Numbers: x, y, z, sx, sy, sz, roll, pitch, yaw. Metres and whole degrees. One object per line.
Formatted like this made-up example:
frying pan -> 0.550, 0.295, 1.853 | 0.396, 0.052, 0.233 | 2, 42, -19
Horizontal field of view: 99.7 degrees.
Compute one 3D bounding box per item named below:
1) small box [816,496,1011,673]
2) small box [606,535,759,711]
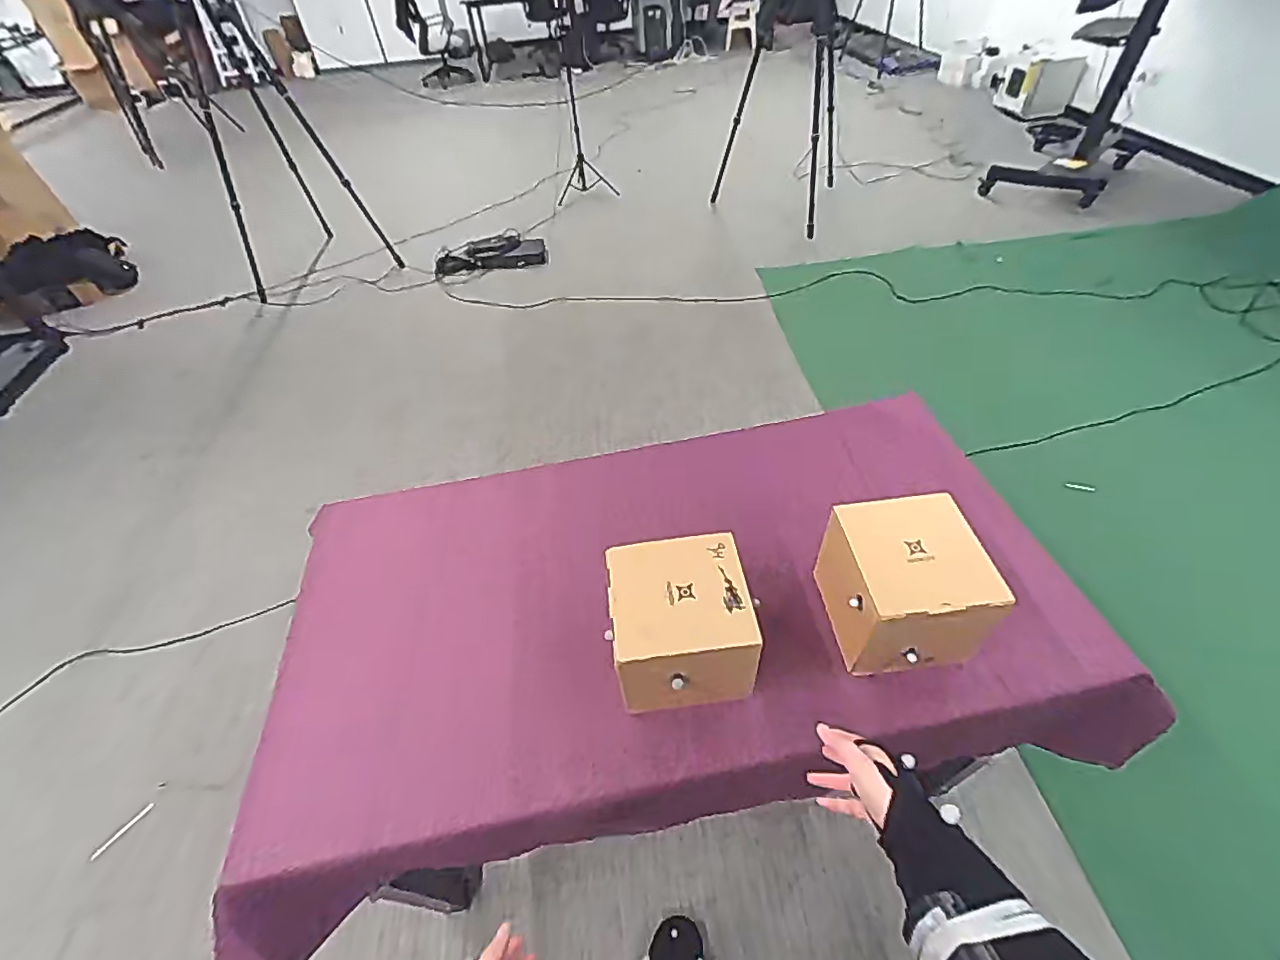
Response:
small box -> 0.361, 0.147, 0.760 | 0.168, 0.176, 0.179 | -7, 48, 0
small box -> 0.055, 0.200, 0.741 | 0.179, 0.176, 0.168 | -8, 47, -1
